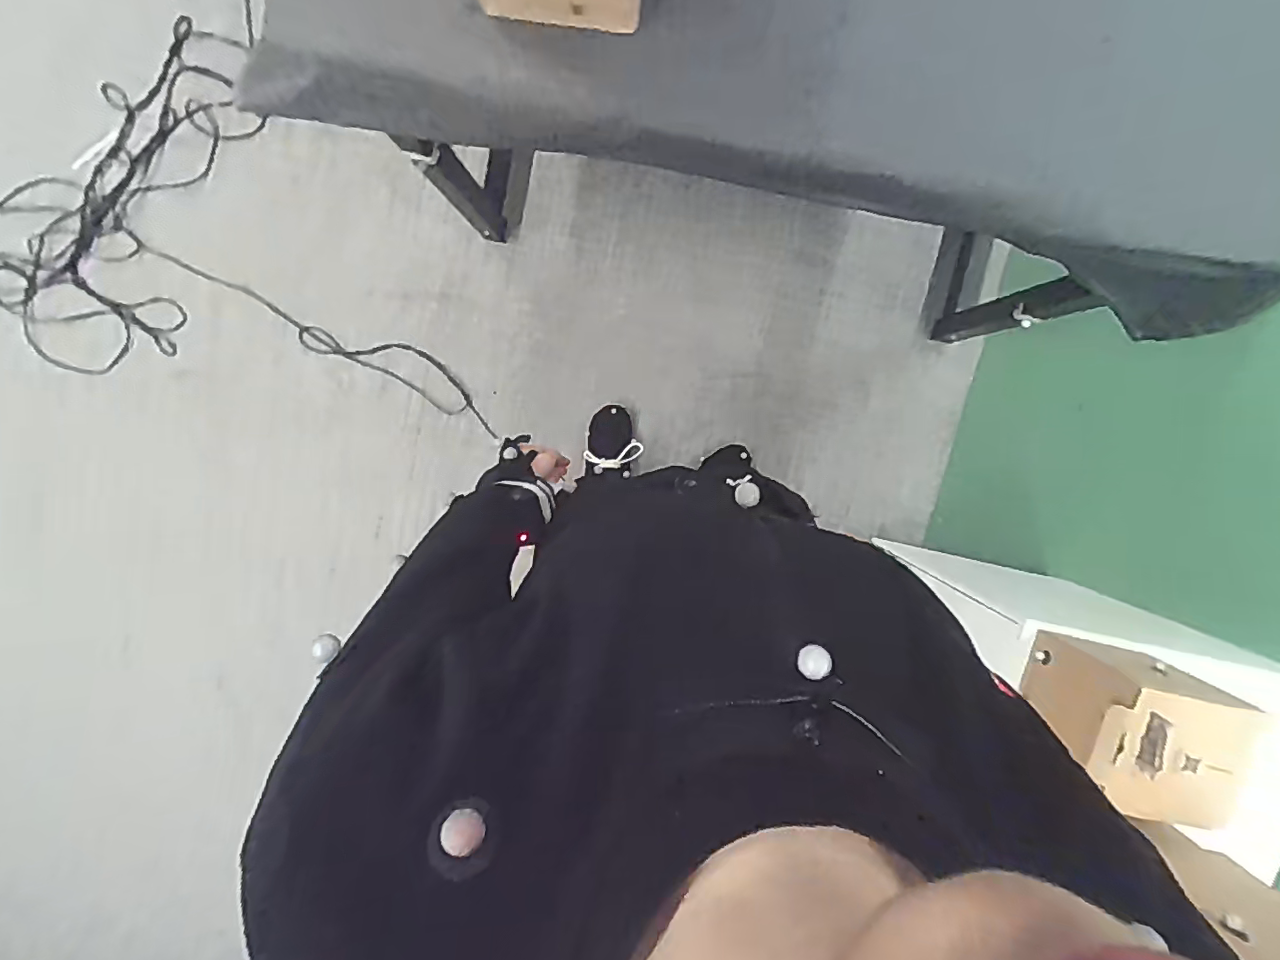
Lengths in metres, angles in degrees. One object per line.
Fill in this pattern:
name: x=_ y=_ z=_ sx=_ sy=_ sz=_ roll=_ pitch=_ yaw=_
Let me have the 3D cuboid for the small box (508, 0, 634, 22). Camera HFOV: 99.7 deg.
small box: x=-0.079 y=-0.572 z=0.492 sx=0.168 sy=0.176 sz=0.179 roll=7 pitch=96 yaw=-1
